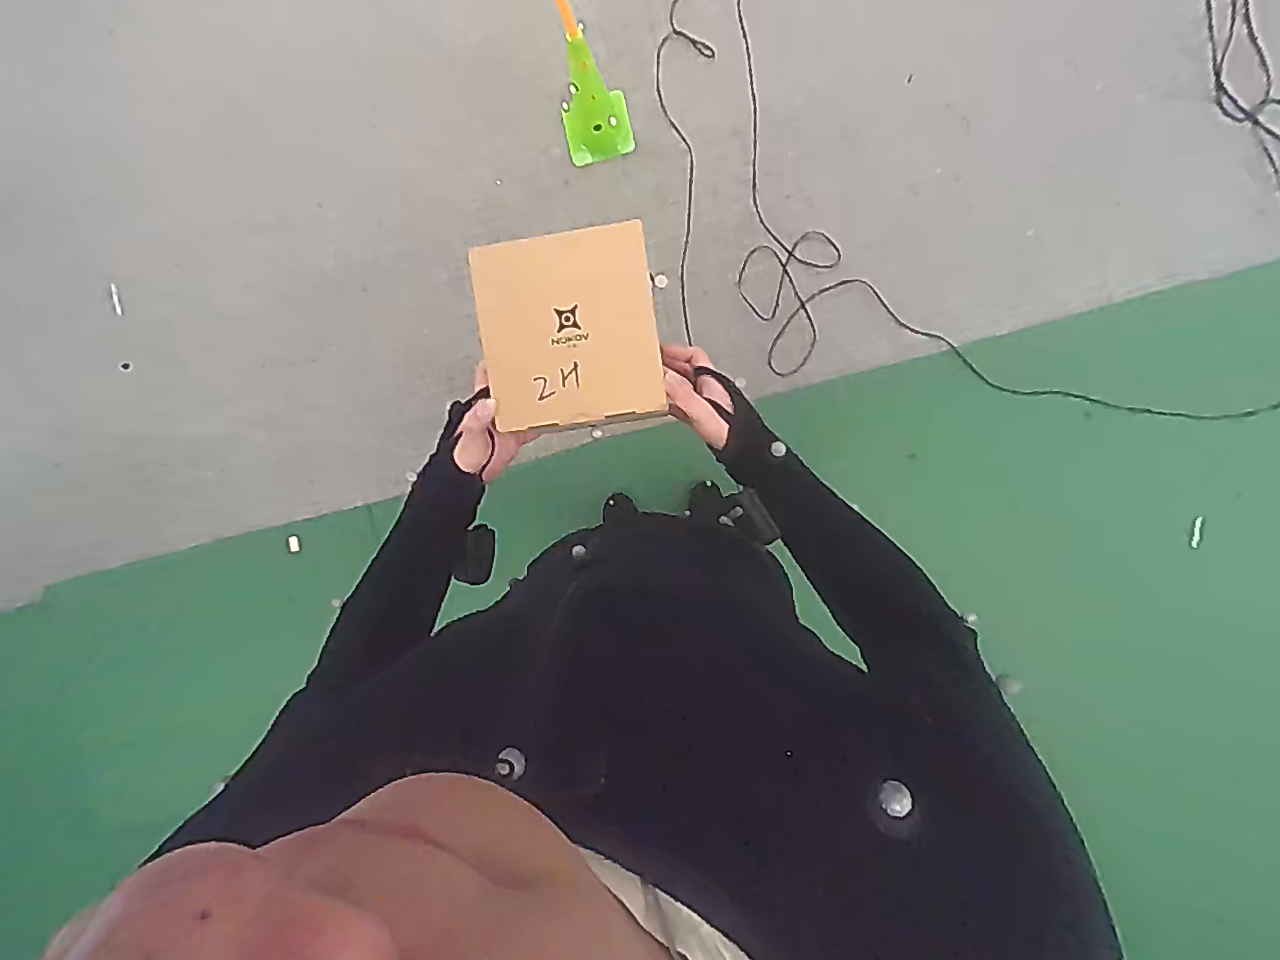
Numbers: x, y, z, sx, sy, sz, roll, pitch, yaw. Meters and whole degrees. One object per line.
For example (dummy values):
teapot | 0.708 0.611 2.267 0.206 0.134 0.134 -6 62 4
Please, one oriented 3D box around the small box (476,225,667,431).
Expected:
small box | -0.062 -0.149 0.591 0.168 0.176 0.179 -7 95 3

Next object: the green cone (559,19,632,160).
green cone | -0.148 -1.101 1.497 0.202 0.368 0.200 -13 89 3
